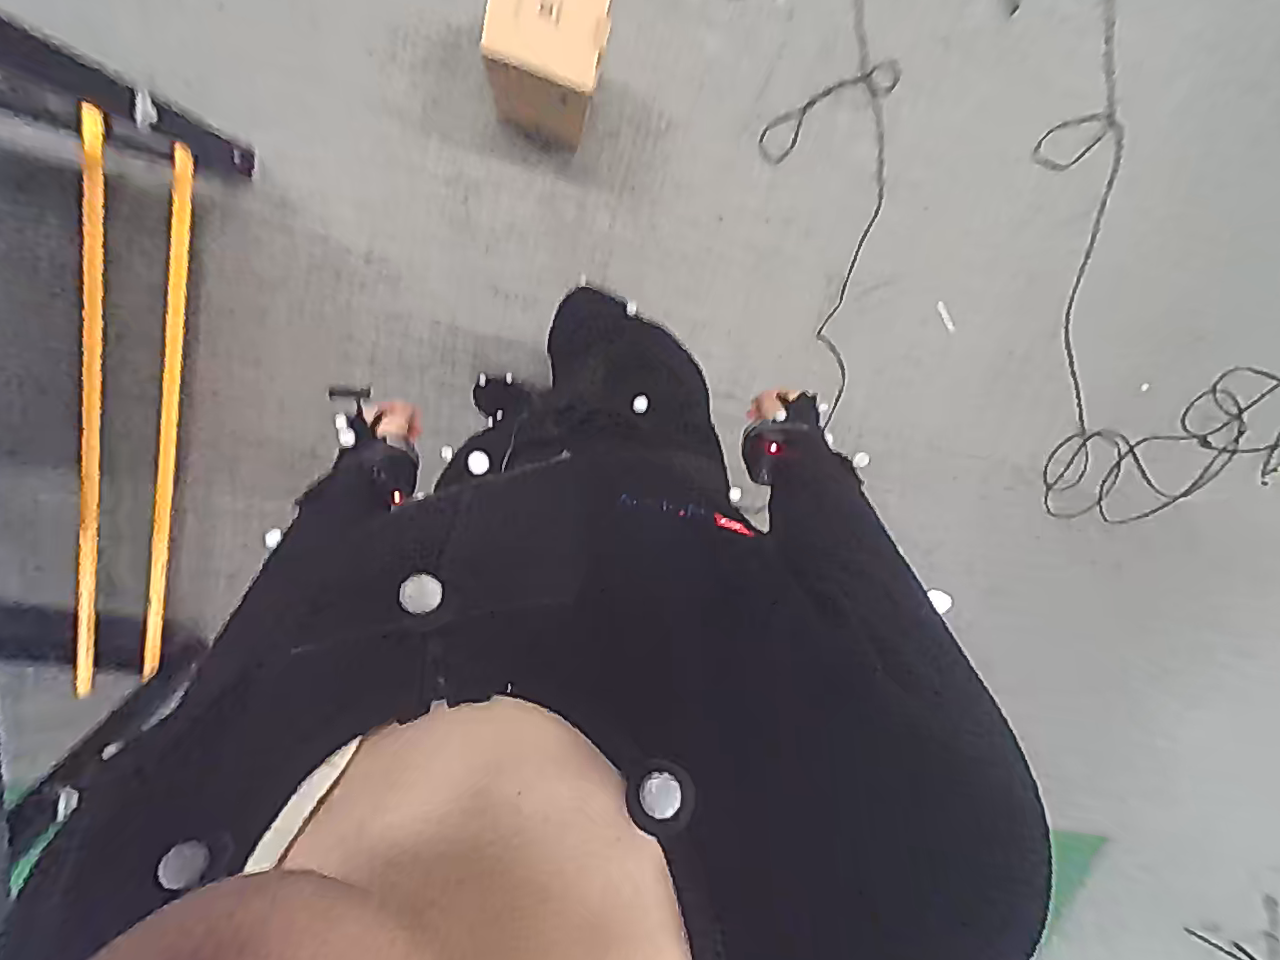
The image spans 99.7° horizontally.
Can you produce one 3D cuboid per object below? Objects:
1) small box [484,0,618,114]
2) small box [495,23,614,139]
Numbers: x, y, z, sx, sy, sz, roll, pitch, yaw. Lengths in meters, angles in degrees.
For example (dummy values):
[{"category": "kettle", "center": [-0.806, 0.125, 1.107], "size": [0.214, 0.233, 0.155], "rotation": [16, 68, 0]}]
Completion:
[{"category": "small box", "center": [-0.141, -0.726, 0.873], "size": [0.179, 0.176, 0.168], "rotation": [12, 105, -13]}, {"category": "small box", "center": [-0.166, -0.779, 1.024], "size": [0.179, 0.176, 0.168], "rotation": [14, 103, -16]}]
